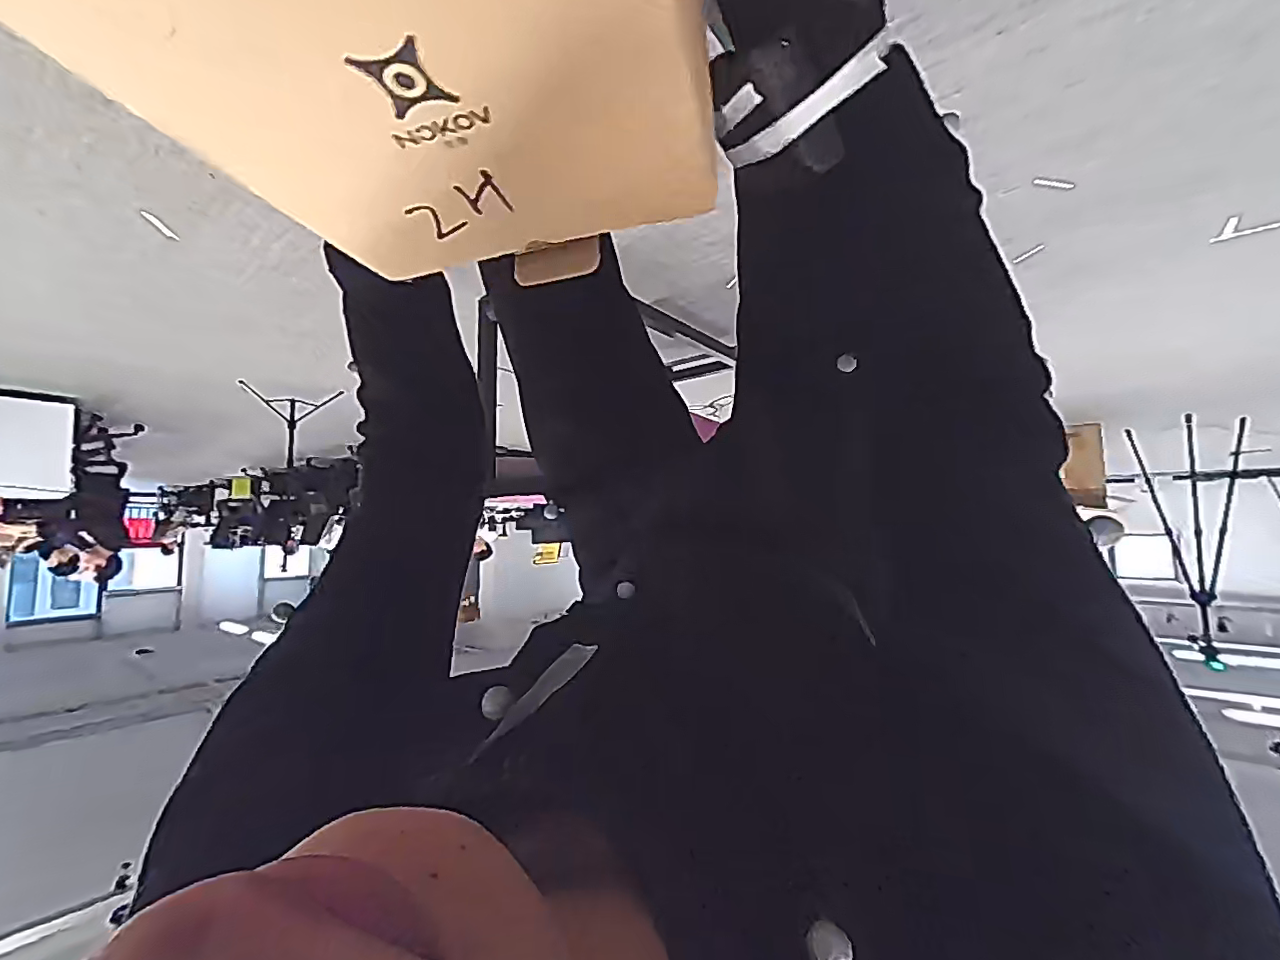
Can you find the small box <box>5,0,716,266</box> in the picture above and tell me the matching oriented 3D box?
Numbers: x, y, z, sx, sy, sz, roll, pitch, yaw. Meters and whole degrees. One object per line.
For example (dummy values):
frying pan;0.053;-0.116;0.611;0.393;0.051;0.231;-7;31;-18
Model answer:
small box;-0.072;-0.202;0.174;0.168;0.176;0.179;-5;173;14
